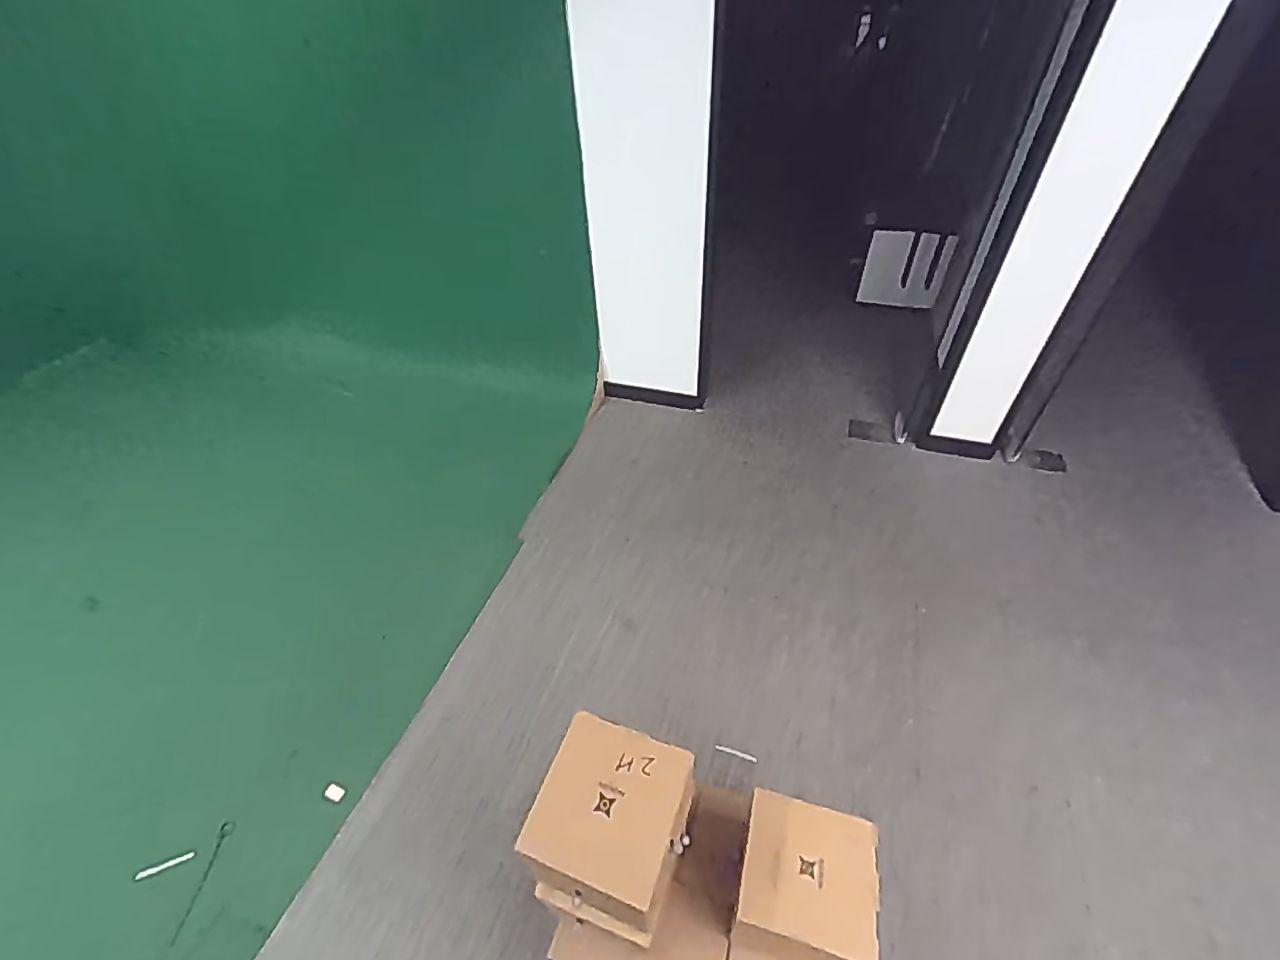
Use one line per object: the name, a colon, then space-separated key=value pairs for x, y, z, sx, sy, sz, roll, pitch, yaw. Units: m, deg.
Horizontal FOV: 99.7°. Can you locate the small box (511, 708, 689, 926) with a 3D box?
small box: x=-0.041 y=0.443 z=0.709 sx=0.168 sy=0.176 sz=0.179 roll=16 pitch=47 yaw=16

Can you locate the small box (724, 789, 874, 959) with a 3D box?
small box: x=0.226 y=0.588 z=0.786 sx=0.179 sy=0.176 sz=0.168 roll=11 pitch=44 yaw=16

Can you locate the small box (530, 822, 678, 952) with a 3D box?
small box: x=-0.042 y=0.569 z=0.815 sx=0.168 sy=0.176 sz=0.179 roll=14 pitch=46 yaw=15
